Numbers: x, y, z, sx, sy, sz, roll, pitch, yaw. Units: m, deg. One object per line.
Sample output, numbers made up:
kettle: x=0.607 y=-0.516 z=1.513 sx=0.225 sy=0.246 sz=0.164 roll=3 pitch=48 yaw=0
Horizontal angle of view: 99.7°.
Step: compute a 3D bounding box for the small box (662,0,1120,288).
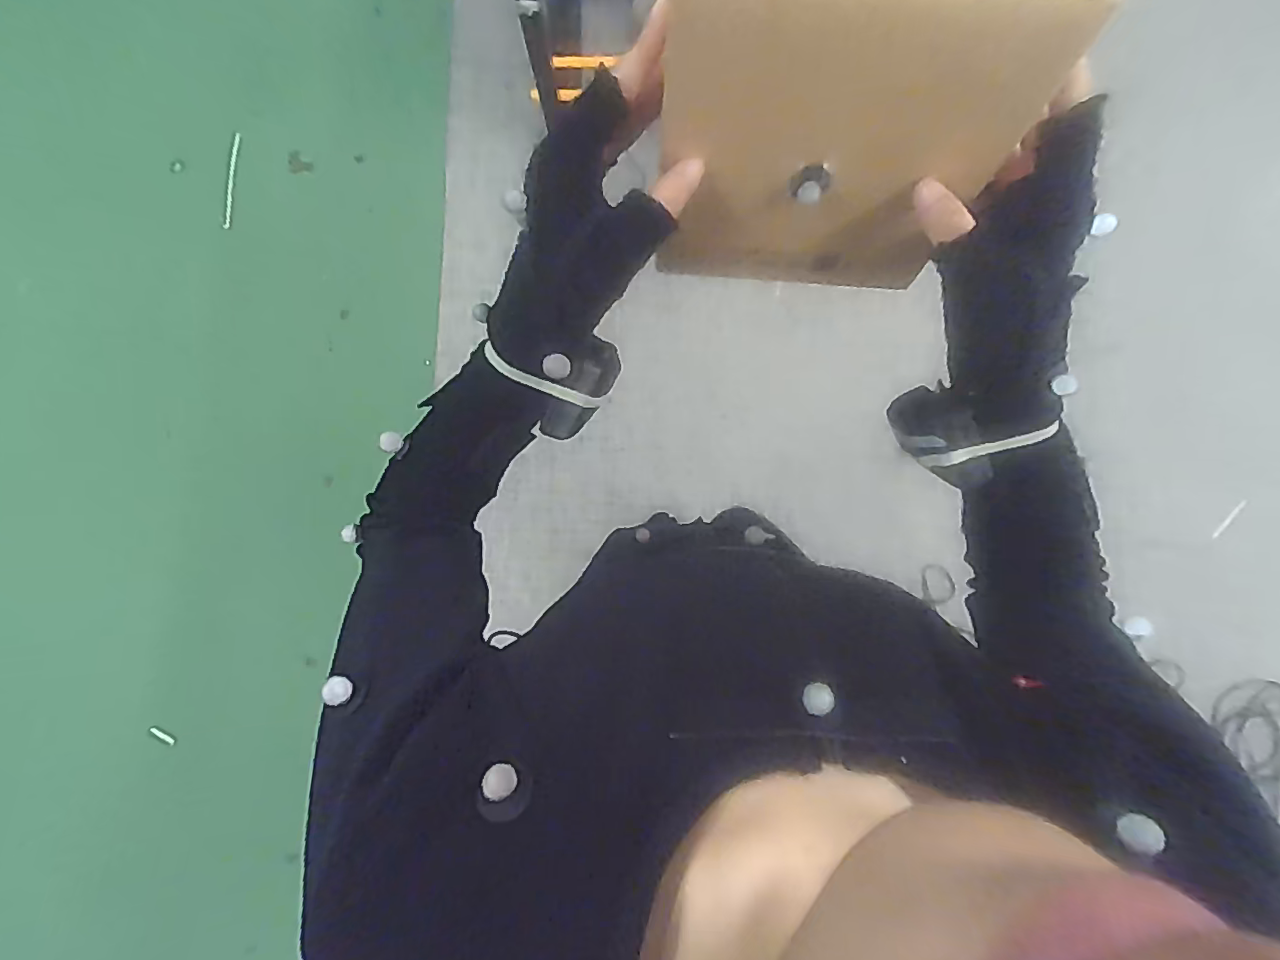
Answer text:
small box: x=0.102 y=-0.231 z=0.300 sx=0.168 sy=0.176 sz=0.179 roll=5 pitch=72 yaw=0
